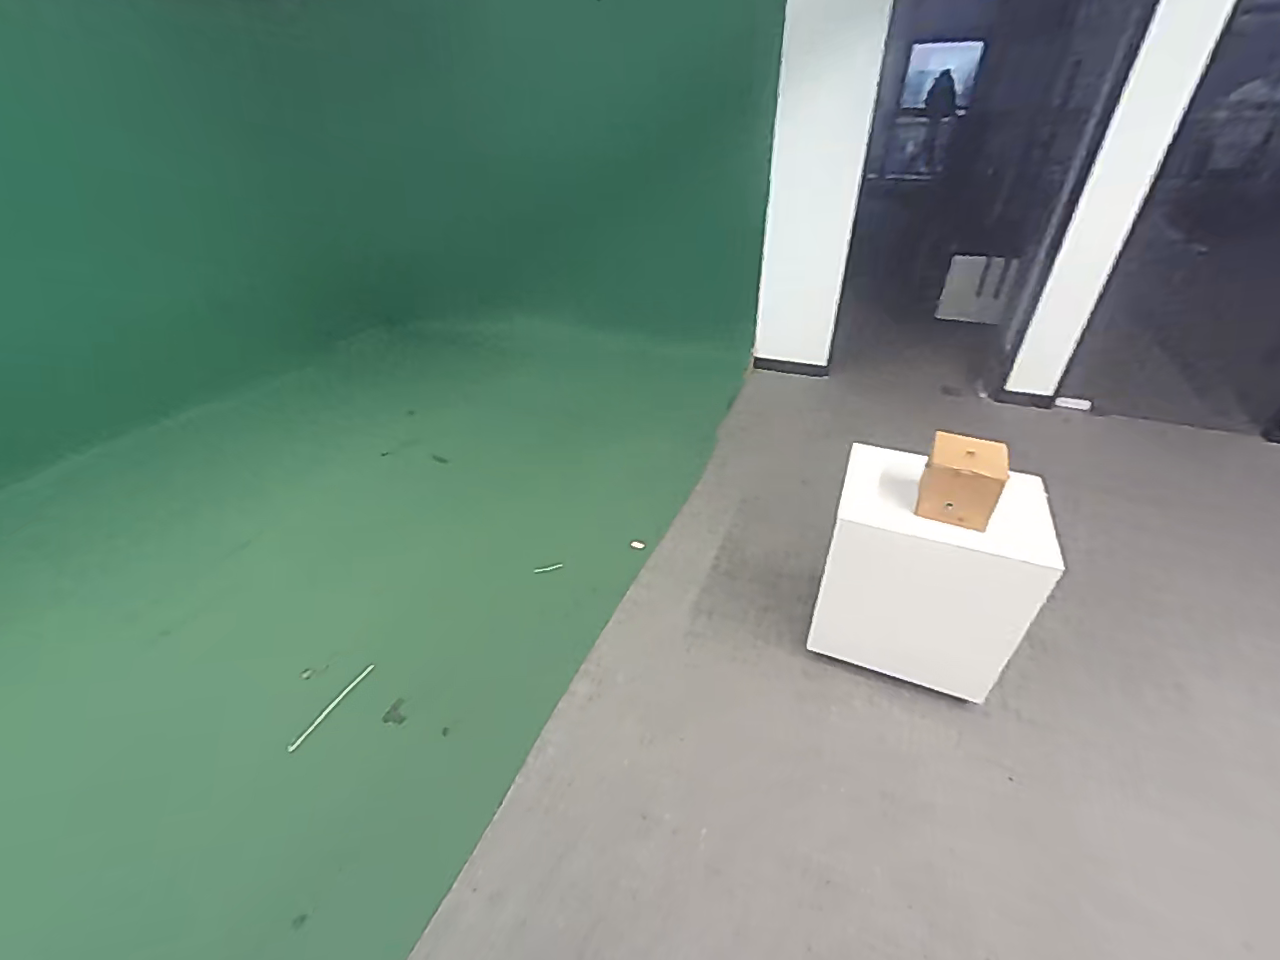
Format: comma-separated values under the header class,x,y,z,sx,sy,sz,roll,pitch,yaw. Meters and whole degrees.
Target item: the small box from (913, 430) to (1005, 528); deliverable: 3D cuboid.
class,x,y,z,sx,sy,sz,roll,pitch,yaw
small box,0.820,-0.005,1.400,0.168,0.176,0.179,15,38,22
